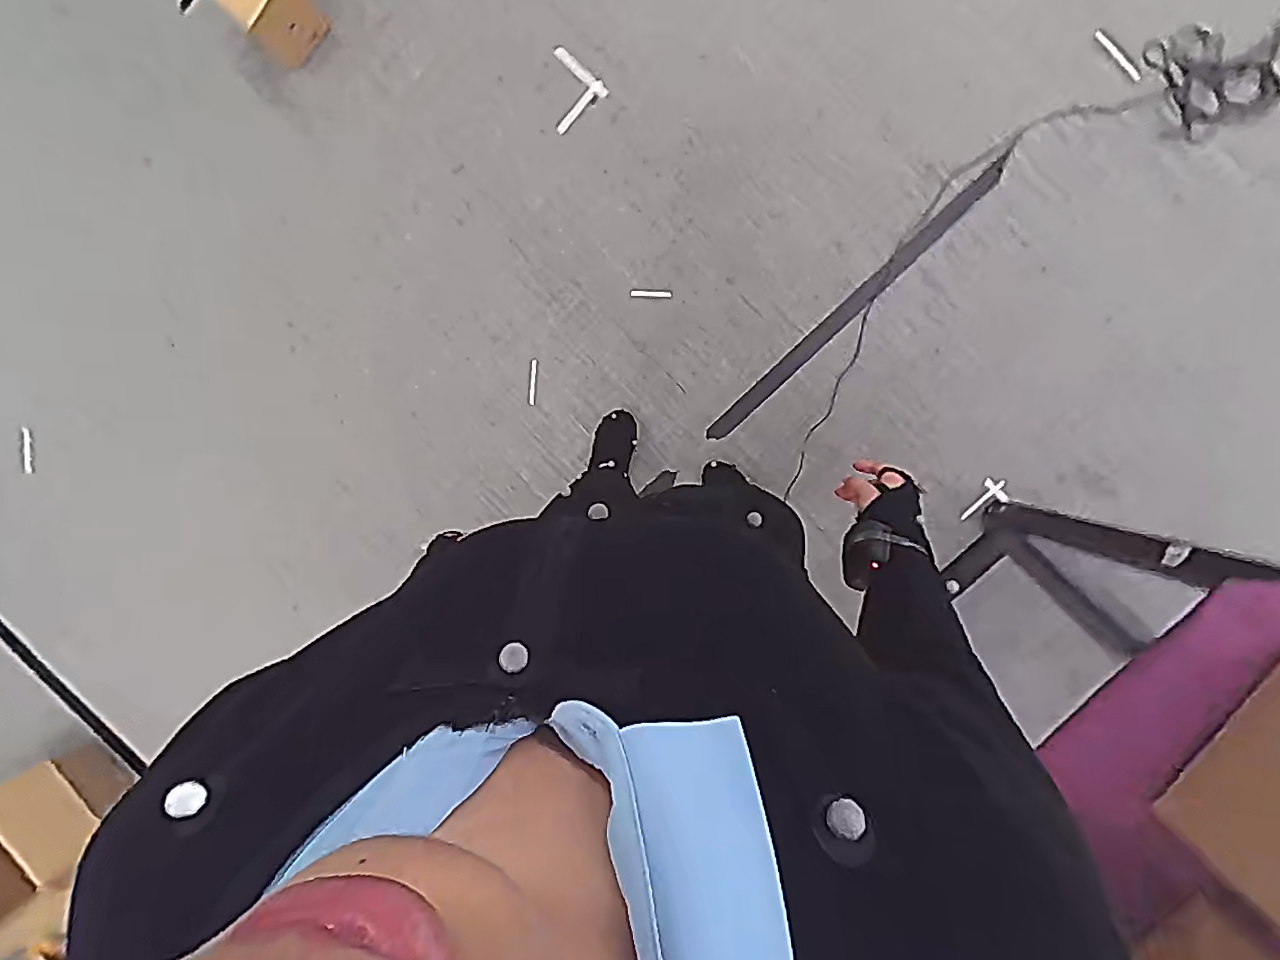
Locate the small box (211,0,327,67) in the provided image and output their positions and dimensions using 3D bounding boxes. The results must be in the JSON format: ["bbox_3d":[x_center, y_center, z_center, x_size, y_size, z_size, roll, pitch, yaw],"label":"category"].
[{"bbox_3d":[-0.937,-1.191,1.354,0.179,0.176,0.168,41,98,0],"label":"small box"}]
